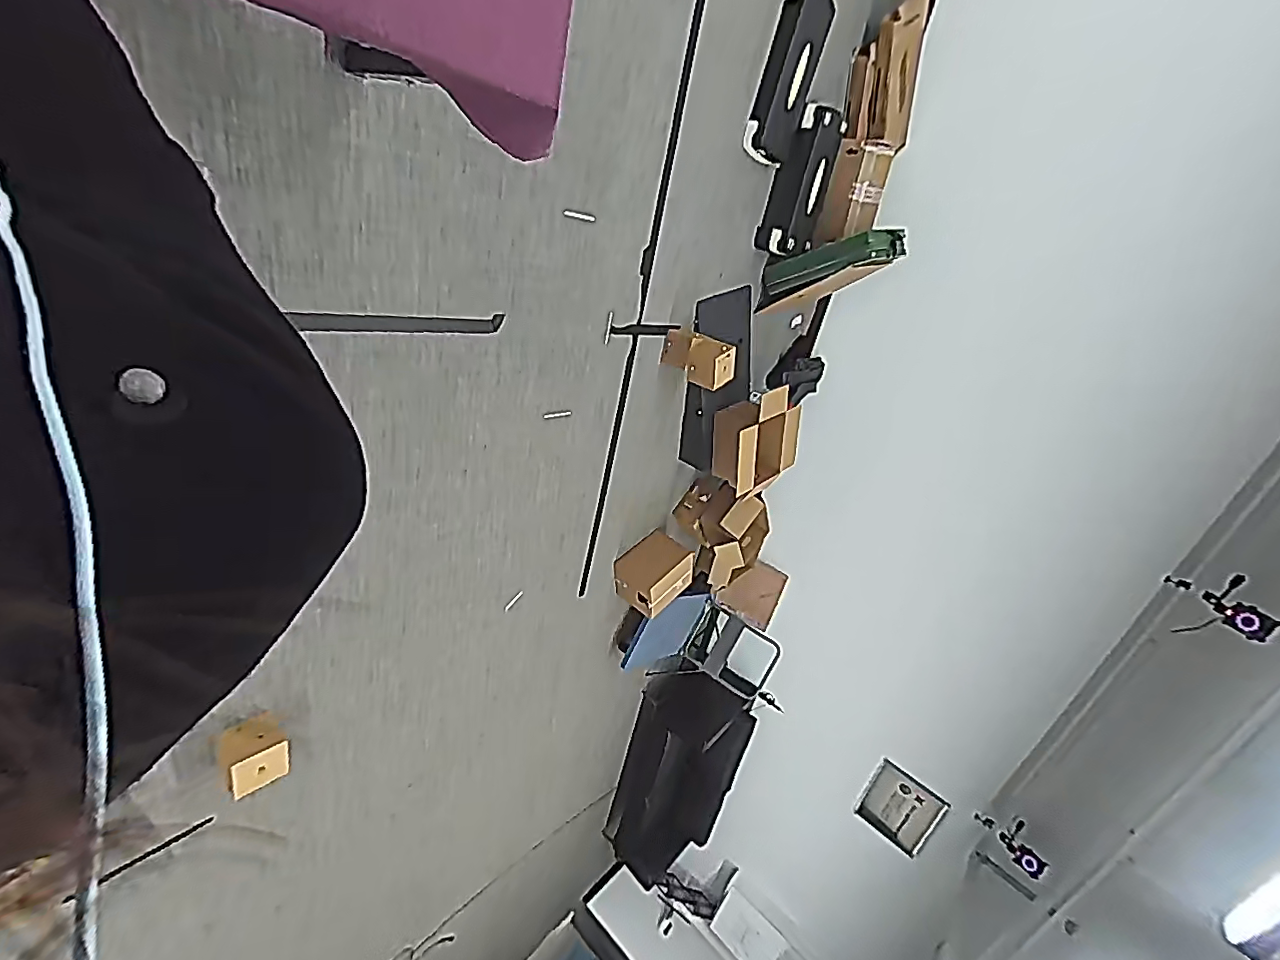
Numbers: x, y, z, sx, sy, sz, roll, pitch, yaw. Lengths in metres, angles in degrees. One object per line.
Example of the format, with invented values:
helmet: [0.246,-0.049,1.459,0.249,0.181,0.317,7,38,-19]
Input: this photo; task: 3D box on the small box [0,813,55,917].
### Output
small box: [-1.710,1.037,1.446,0.168,0.176,0.179,-14,127,-49]

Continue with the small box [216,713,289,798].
small box: [-1.350,0.948,1.884,0.168,0.176,0.179,-17,130,-49]
